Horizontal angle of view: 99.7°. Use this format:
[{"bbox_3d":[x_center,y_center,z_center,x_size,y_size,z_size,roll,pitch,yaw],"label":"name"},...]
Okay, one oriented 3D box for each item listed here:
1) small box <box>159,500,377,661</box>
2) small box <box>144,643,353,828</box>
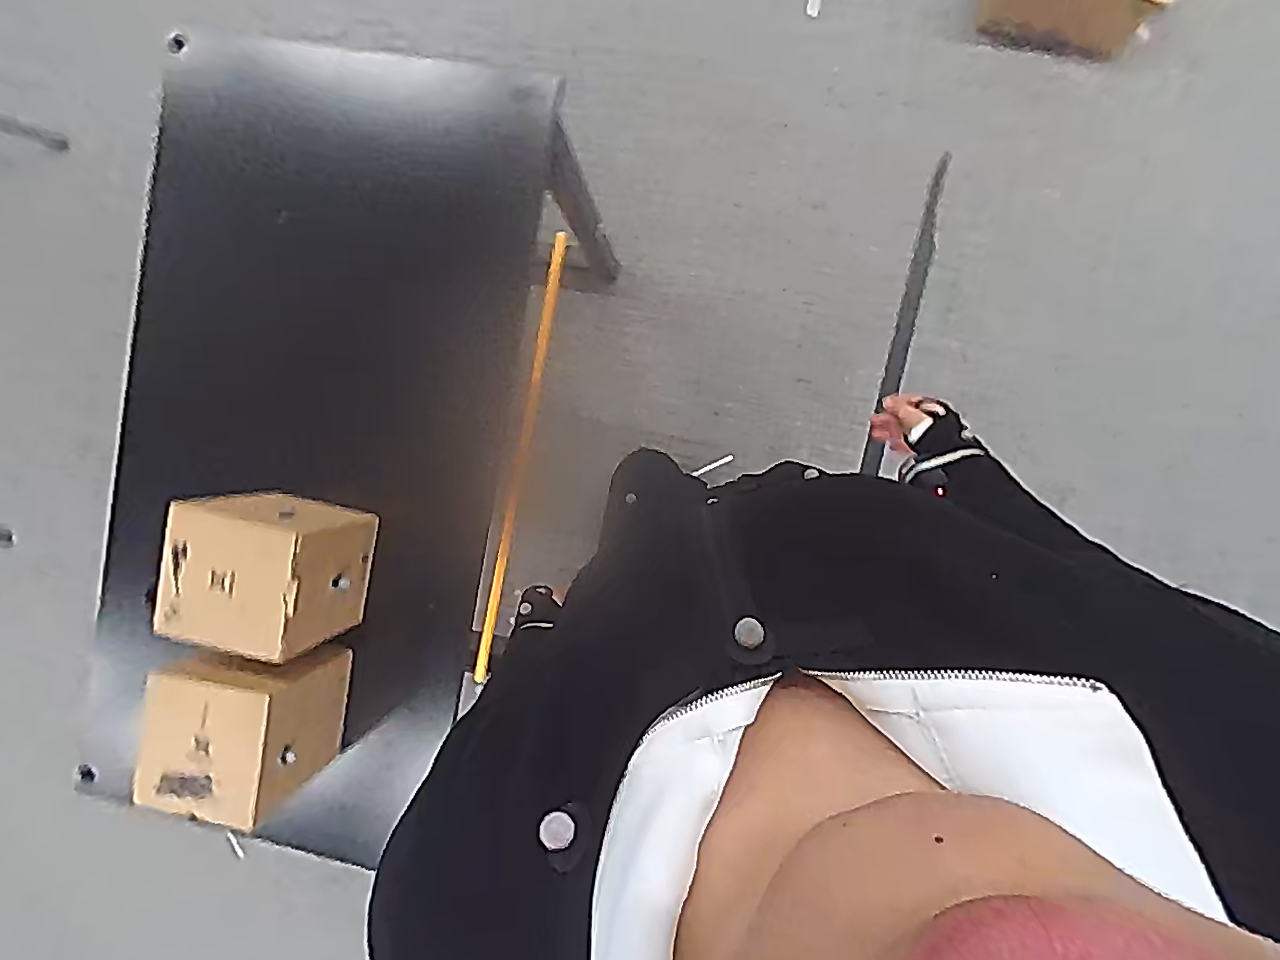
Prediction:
[{"bbox_3d":[-0.497,0.125,0.747,0.179,0.176,0.168,11,92,4],"label":"small box"},{"bbox_3d":[-0.535,0.337,0.760,0.168,0.176,0.179,9,92,5],"label":"small box"}]
